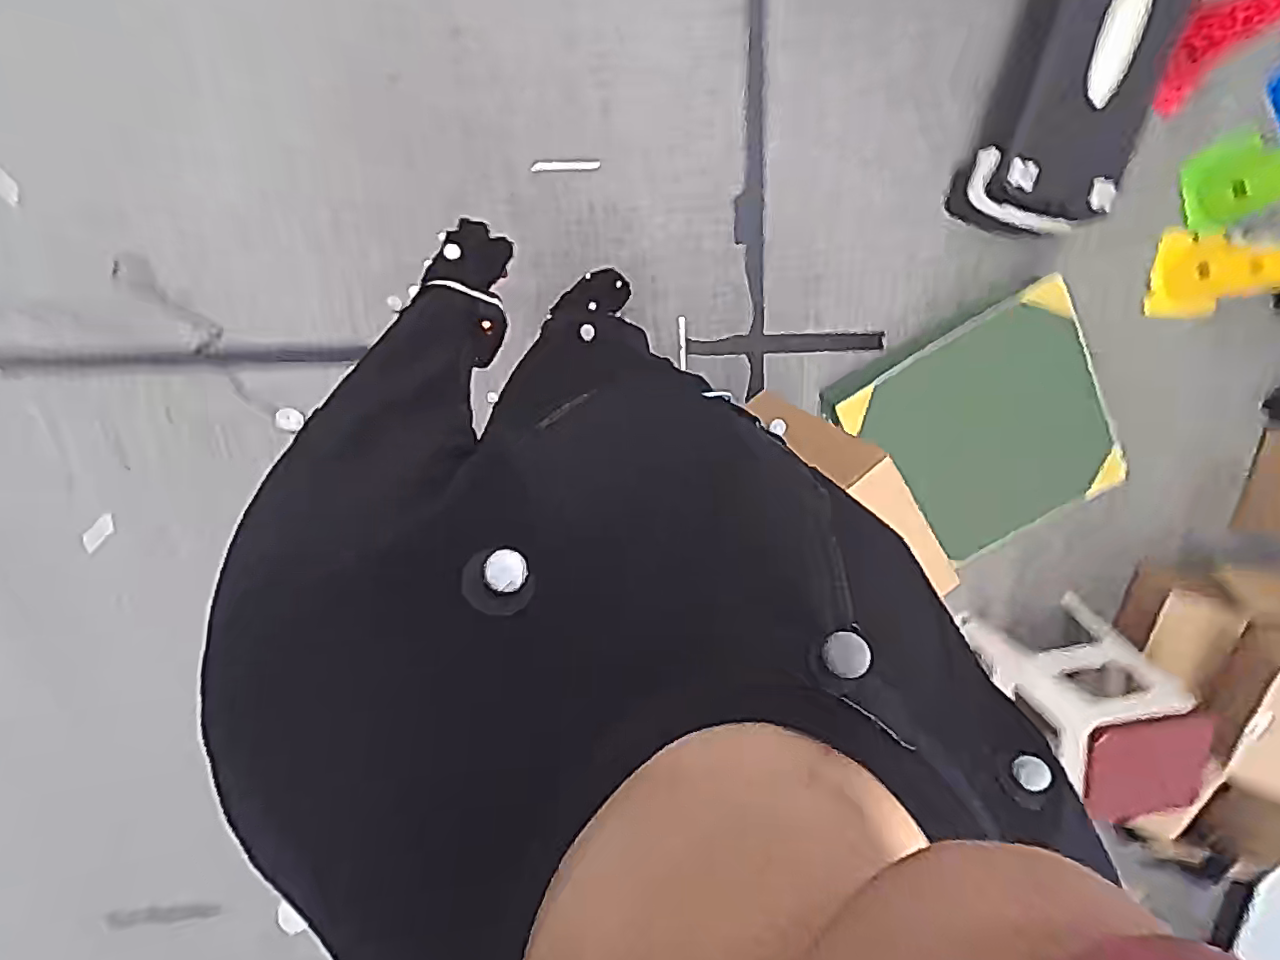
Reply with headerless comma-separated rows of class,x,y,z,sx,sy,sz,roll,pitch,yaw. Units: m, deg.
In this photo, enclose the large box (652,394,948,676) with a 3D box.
large box,0.281,0.084,1.046,0.320,0.408,0.320,-41,116,4
